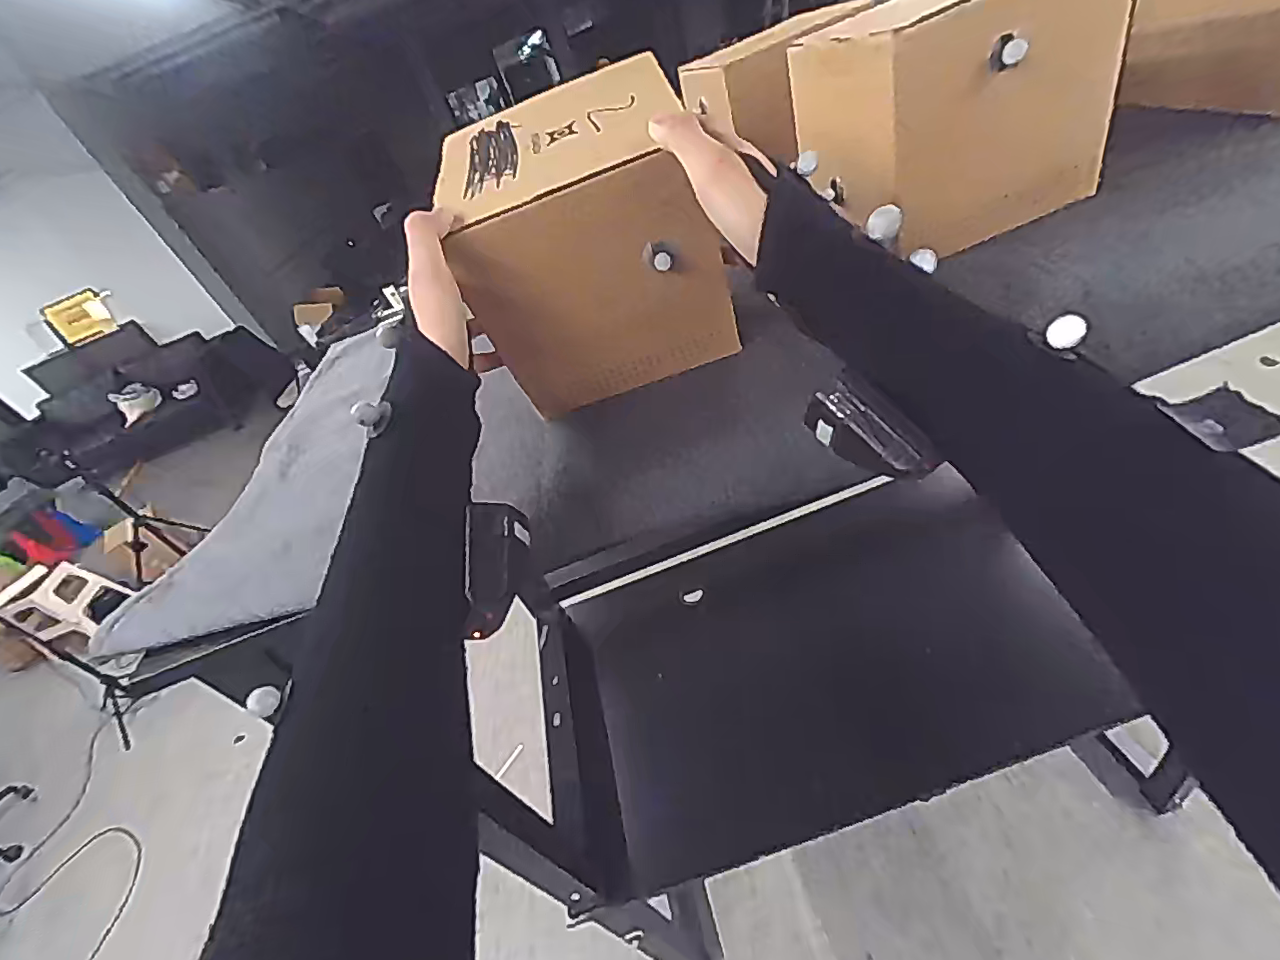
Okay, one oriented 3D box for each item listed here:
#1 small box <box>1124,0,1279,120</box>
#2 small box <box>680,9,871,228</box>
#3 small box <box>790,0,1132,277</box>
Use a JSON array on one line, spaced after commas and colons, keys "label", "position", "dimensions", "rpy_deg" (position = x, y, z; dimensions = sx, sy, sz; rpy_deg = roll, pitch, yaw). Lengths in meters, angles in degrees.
[{"label": "small box", "position": [0.553, -0.418, 0.440], "dimensions": [0.168, 0.176, 0.179], "rpy_deg": [-18, 37, 8]}, {"label": "small box", "position": [0.165, -0.431, 0.660], "dimensions": [0.168, 0.176, 0.179], "rpy_deg": [-22, 38, 2]}, {"label": "small box", "position": [0.251, -0.301, 0.460], "dimensions": [0.179, 0.176, 0.168], "rpy_deg": [-22, 37, 2]}]
